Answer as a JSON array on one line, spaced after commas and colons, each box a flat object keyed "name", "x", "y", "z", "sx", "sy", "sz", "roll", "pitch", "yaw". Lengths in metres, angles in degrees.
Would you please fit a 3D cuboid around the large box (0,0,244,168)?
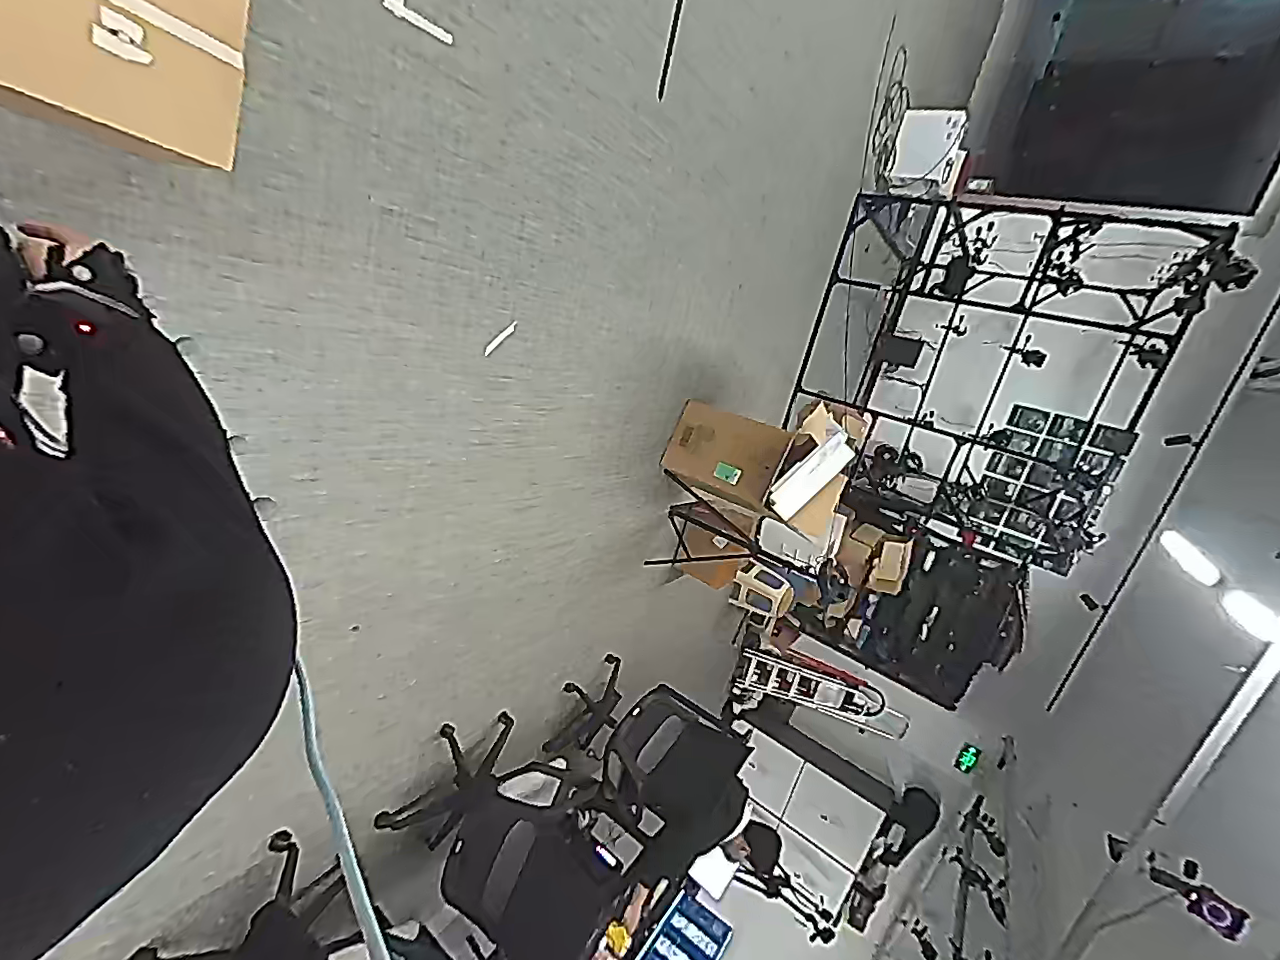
[{"name": "large box", "x": -0.831, "y": -0.667, "z": 0.717, "sx": 0.408, "sy": 0.320, "sz": 0.320, "roll": -5, "pitch": 114, "yaw": -58}]
